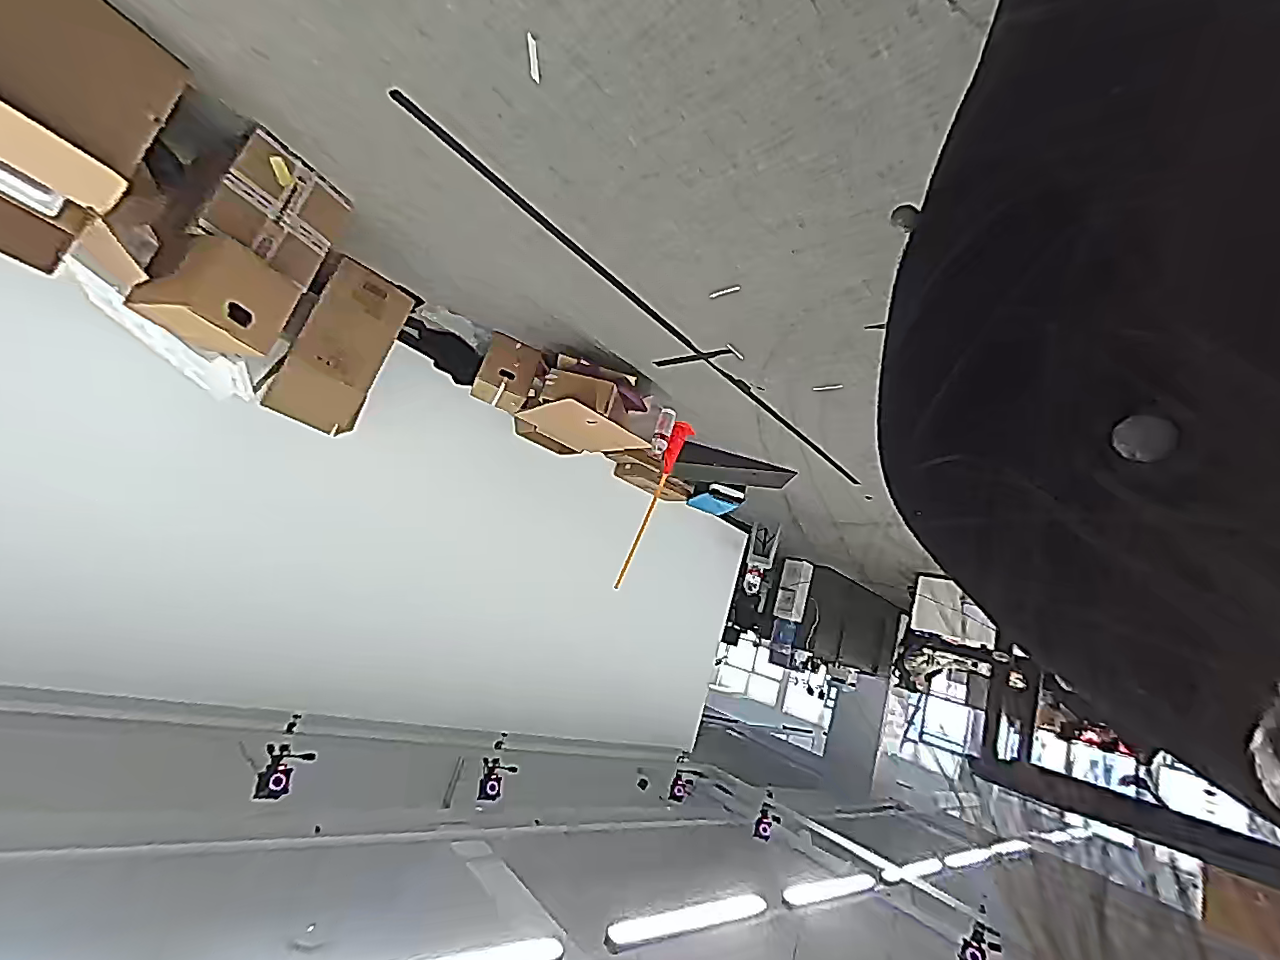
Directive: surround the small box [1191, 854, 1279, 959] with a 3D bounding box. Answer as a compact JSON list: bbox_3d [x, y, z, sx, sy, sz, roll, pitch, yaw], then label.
[{"bbox_3d":[1.629,1.157,1.475,0.168,0.176,0.179,2,161,45],"label":"small box"}]
